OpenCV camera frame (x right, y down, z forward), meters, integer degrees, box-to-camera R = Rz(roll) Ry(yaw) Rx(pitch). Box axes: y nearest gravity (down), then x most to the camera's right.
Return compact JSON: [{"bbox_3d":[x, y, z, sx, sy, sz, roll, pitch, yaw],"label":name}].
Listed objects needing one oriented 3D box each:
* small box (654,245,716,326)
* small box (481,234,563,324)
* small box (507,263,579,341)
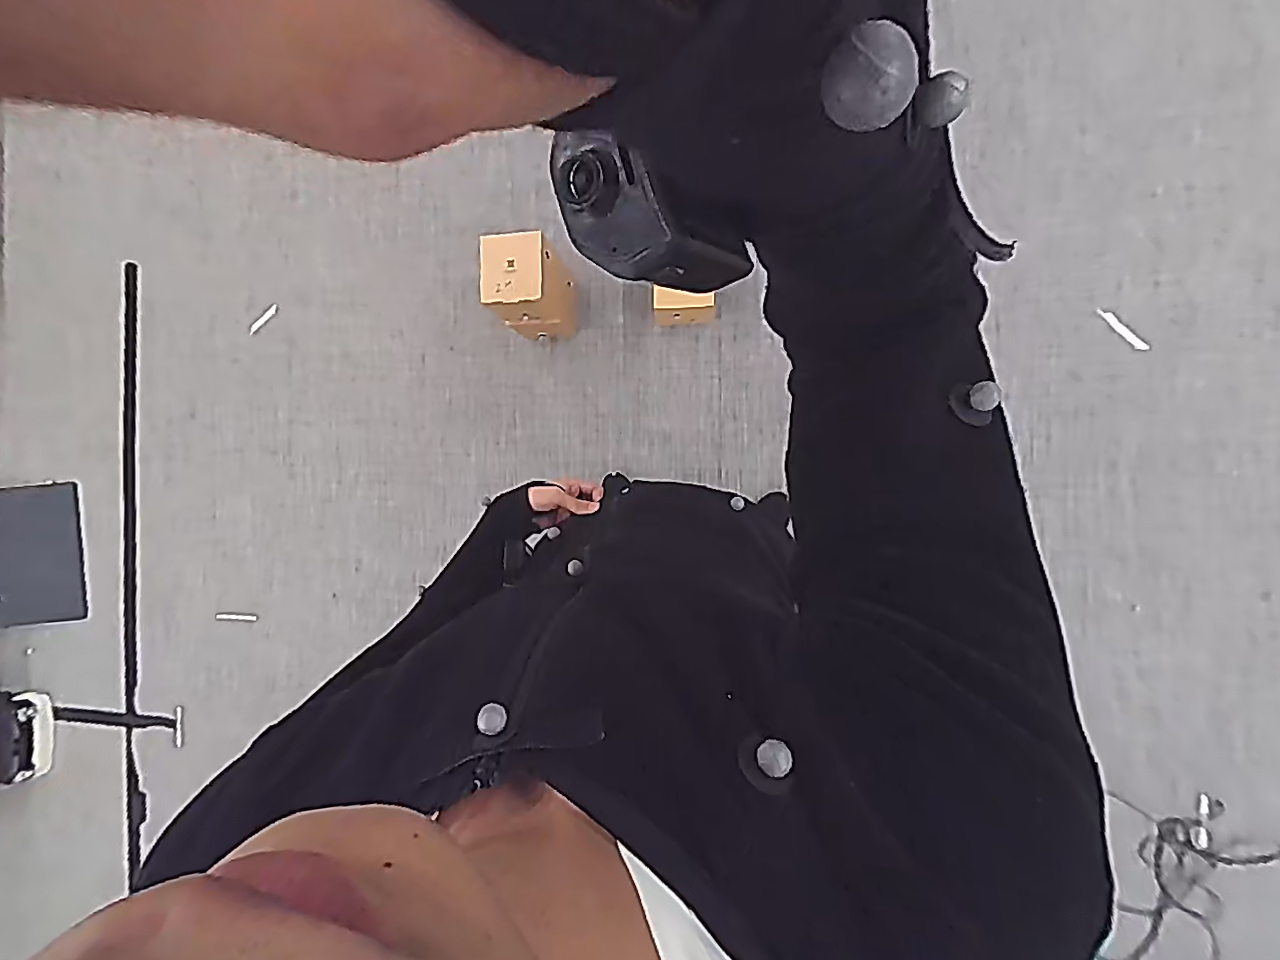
[{"bbox_3d":[0.132,-0.544,1.537,0.168,0.176,0.179,-1,89,8],"label":"small box"},{"bbox_3d":[-0.307,-0.527,1.433,0.168,0.176,0.179,0,91,10],"label":"small box"},{"bbox_3d":[-0.283,-0.519,1.596,0.168,0.176,0.179,0,90,10],"label":"small box"}]
